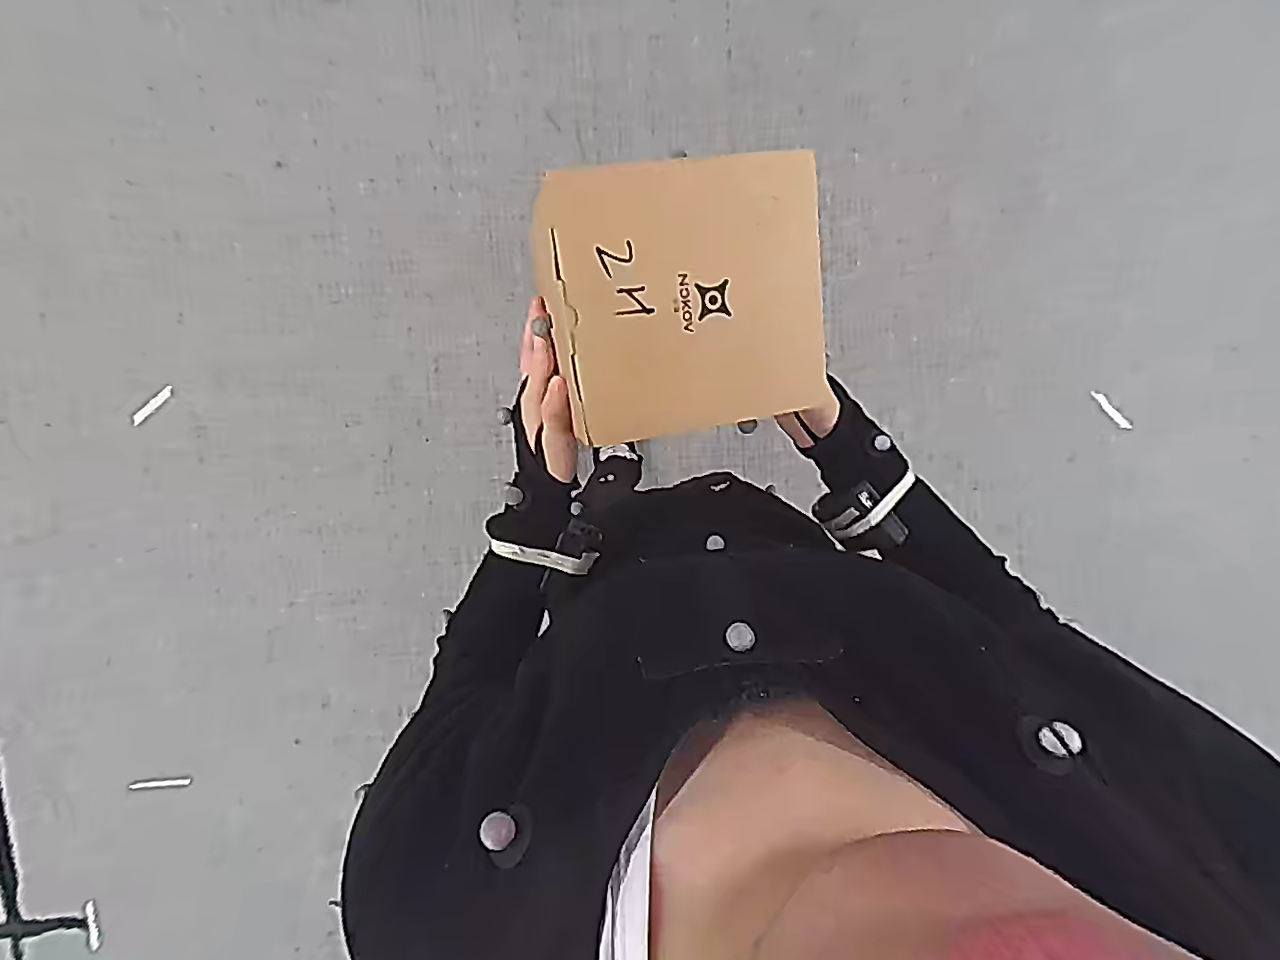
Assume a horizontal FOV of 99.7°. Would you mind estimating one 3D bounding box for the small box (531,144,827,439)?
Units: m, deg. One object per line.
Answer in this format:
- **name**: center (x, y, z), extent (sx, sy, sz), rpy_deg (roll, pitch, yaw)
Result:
- **small box**: center (0.020, -0.138, 0.419), extent (0.179, 0.176, 0.168), rpy_deg (-12, 105, -11)
